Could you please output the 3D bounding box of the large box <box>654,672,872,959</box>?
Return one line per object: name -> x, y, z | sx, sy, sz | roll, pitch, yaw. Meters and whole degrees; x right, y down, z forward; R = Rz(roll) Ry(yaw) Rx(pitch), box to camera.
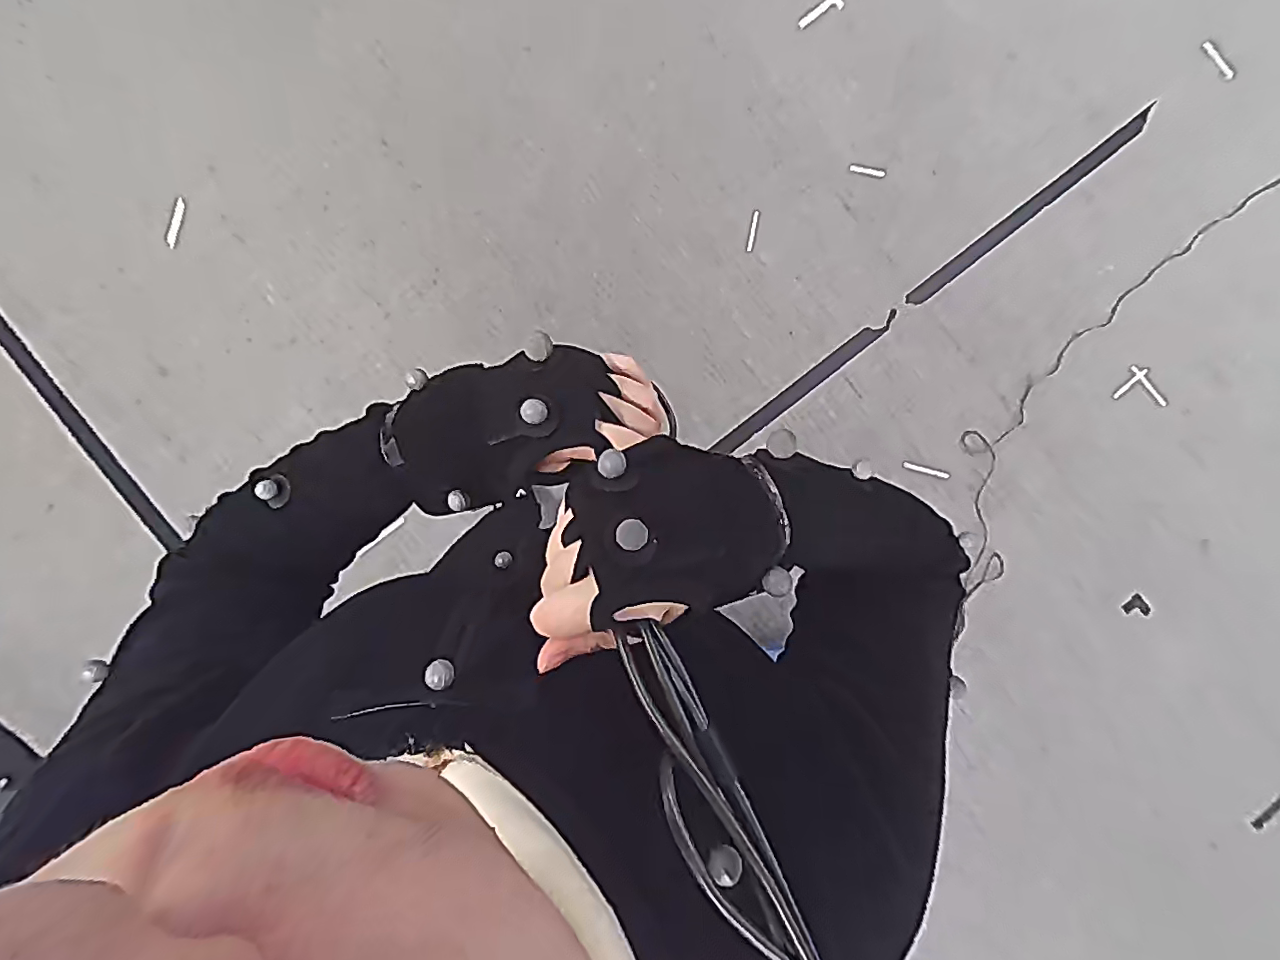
large box -> 0.237, 0.693, 1.168 | 0.320, 0.320, 0.408 | -13, 90, -4
